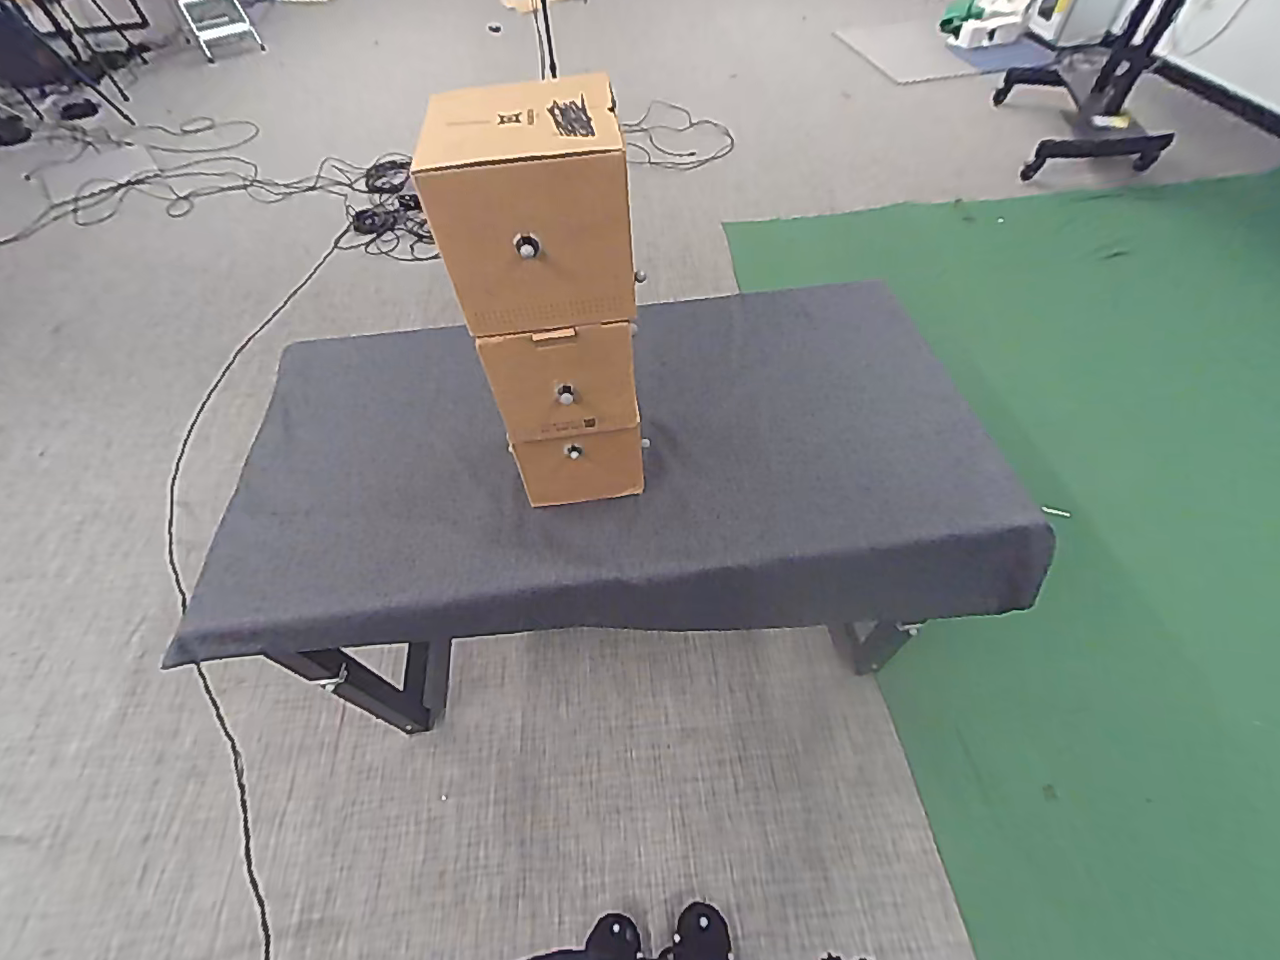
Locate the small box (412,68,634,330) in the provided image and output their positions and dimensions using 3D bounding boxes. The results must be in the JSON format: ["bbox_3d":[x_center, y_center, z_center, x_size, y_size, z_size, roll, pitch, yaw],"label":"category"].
[{"bbox_3d":[-0.103,-0.271,0.535,0.179,0.176,0.168,-9,55,-5],"label":"small box"}]

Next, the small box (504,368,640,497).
[{"bbox_3d":[-0.096,-0.089,0.808,0.179,0.176,0.168,-7,55,-3],"label":"small box"}]

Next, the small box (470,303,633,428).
[{"bbox_3d":[-0.102,-0.179,0.671,0.168,0.176,0.179,-8,56,-2],"label":"small box"}]
